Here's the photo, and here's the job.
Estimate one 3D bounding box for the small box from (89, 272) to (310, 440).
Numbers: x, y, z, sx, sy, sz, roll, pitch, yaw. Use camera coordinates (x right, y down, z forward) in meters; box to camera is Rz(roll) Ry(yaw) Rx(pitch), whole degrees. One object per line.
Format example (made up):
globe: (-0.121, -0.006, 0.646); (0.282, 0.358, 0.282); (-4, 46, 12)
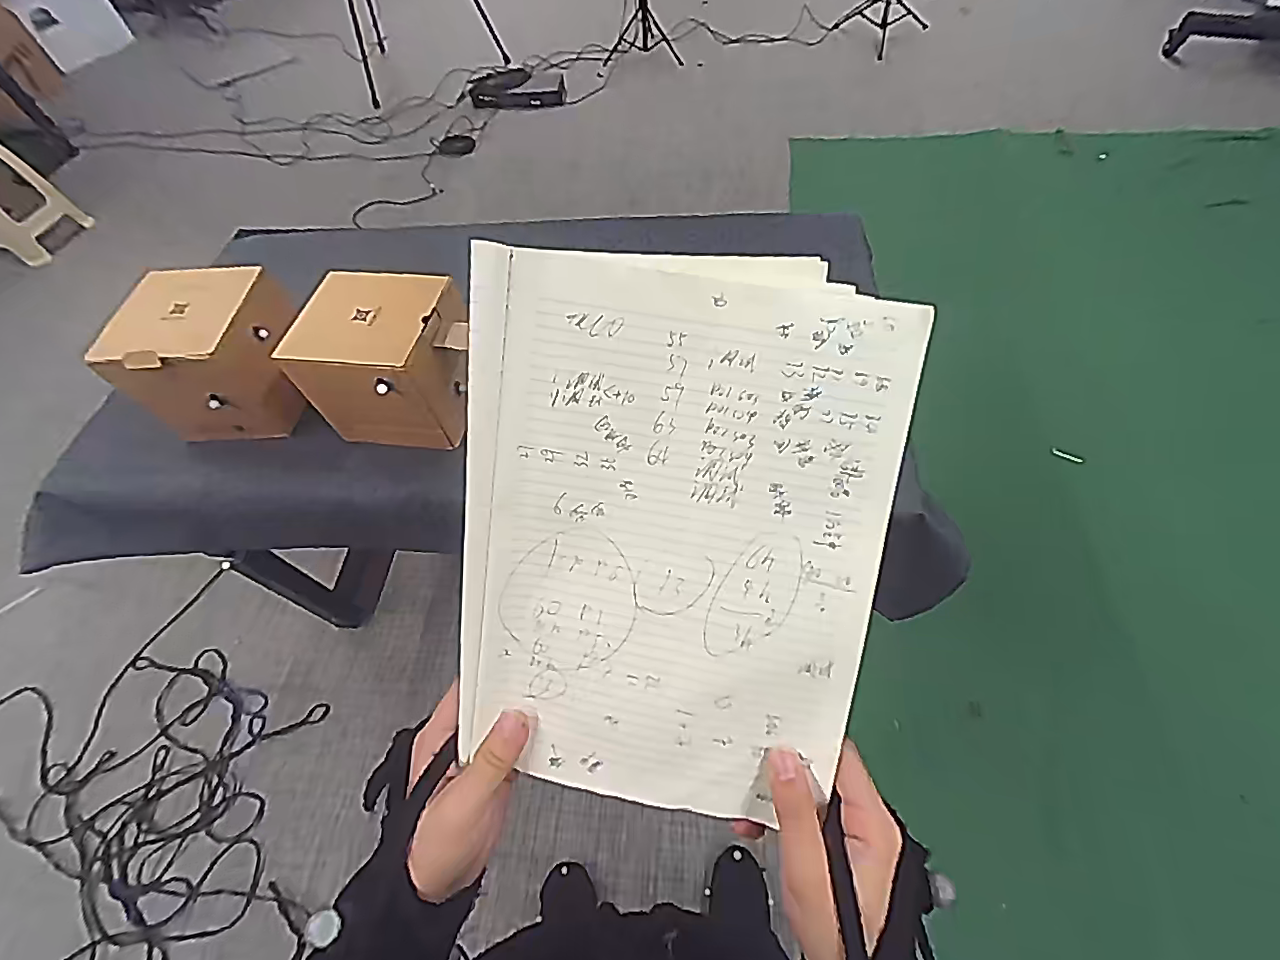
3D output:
small box: (-0.593, -0.169, 0.772); (0.168, 0.176, 0.179); (-2, 56, 2)

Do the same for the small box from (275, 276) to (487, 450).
small box: (-0.336, -0.156, 0.743); (0.179, 0.176, 0.168); (5, 57, 7)
